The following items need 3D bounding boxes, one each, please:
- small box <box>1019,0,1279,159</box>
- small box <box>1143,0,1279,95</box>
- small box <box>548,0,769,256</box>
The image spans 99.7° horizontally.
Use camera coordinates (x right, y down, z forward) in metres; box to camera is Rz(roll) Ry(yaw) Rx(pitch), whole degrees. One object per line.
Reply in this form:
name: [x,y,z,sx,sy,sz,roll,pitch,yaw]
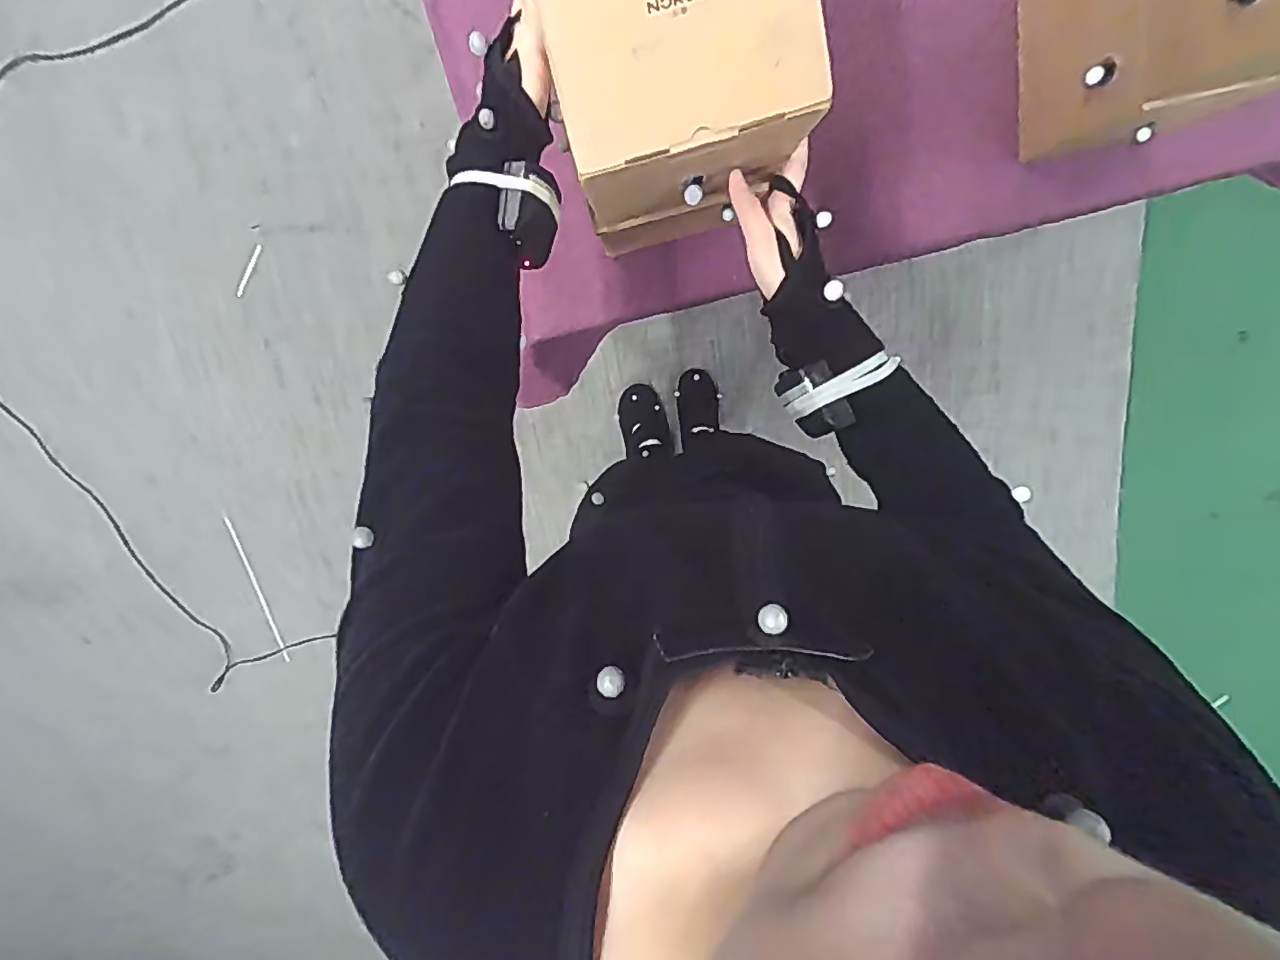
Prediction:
small box: [0.514,-0.444,0.538,0.168,0.176,0.179,-11,105,3]
small box: [0.511,-0.405,0.380,0.168,0.176,0.179,-9,105,3]
small box: [0.021,-0.350,0.573,0.179,0.176,0.168,-14,104,4]
